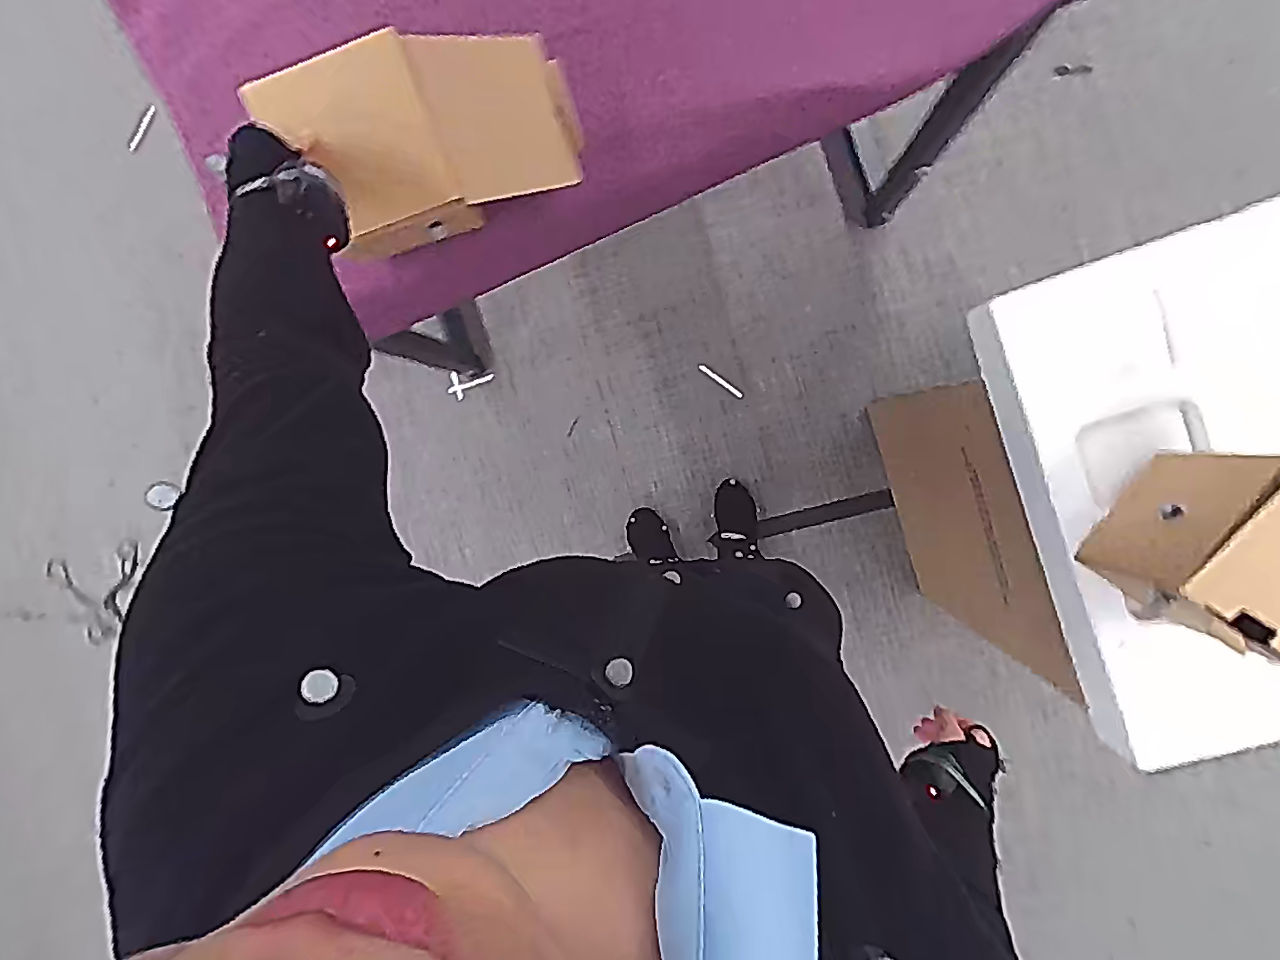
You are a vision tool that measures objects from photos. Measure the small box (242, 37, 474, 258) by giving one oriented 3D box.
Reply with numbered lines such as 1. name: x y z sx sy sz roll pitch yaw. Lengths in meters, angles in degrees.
1. small box: -0.316 -0.383 0.657 0.179 0.176 0.168 -18 107 -1
